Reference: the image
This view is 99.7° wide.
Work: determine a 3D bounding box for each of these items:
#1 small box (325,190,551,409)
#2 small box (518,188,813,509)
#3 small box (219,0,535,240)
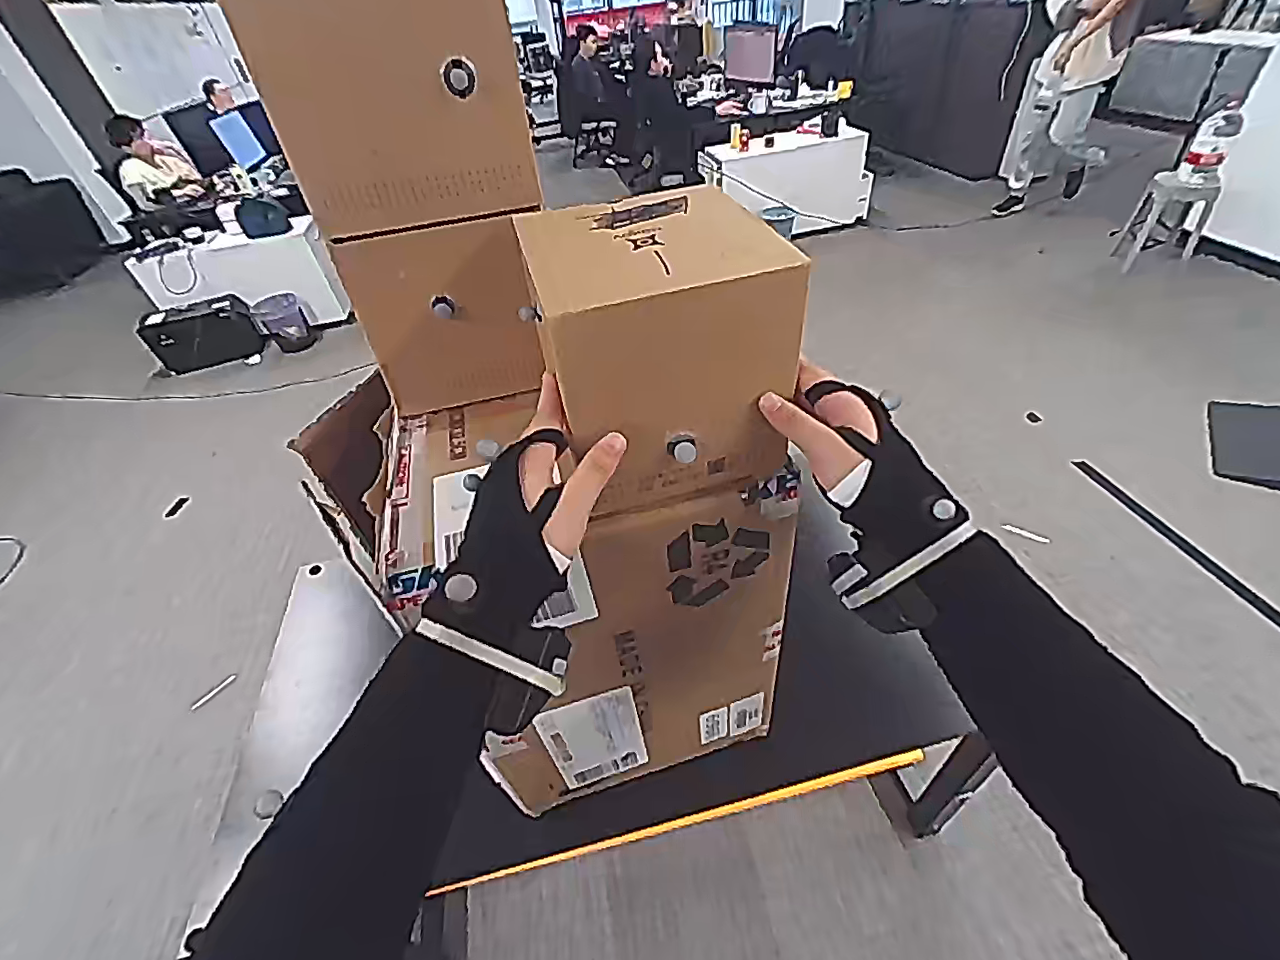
[{"bbox_3d":[-0.178,-0.192,0.546,0.179,0.176,0.168,-15,41,-9],"label":"small box"},{"bbox_3d":[0.010,-0.106,0.425,0.168,0.176,0.179,-15,44,-8],"label":"small box"},{"bbox_3d":[-0.191,-0.313,0.437,0.179,0.176,0.168,-16,40,-10],"label":"small box"}]
